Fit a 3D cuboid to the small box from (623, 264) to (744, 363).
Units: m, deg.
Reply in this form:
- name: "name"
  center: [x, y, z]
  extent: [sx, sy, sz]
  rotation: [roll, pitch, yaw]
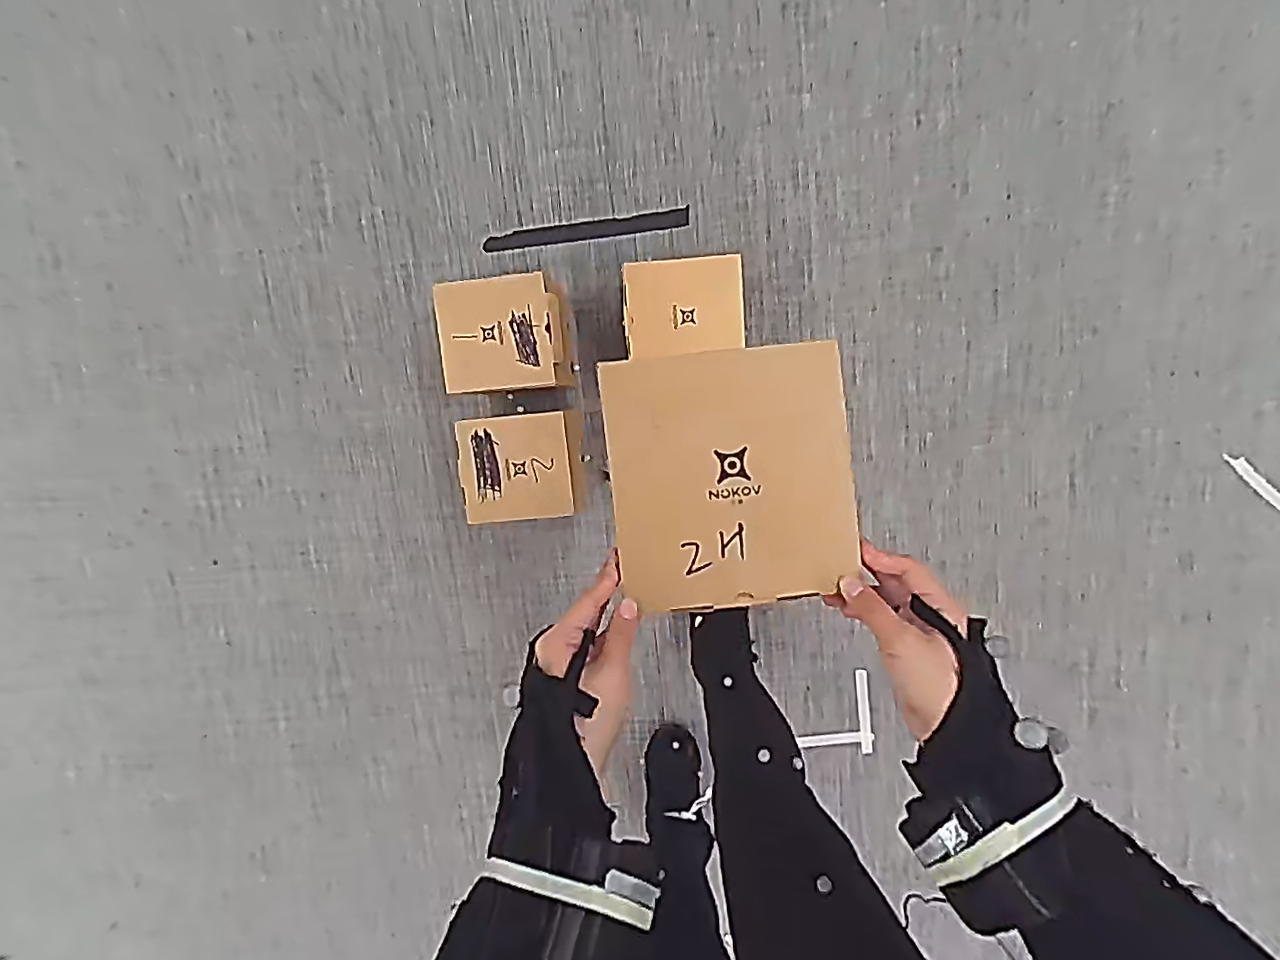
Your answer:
- name: "small box"
  center: [0.069, -0.245, 0.885]
  extent: [0.179, 0.176, 0.168]
  rotation: [-4, 98, 4]

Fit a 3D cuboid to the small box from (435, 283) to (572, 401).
- name: "small box"
  center: [-0.214, -0.222, 0.903]
  extent: [0.179, 0.176, 0.168]
  rotation: [-5, 98, 5]

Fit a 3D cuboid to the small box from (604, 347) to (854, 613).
- name: "small box"
  center: [0.059, 0.000, 0.456]
  extent: [0.168, 0.176, 0.179]
  rotation: [-6, 90, -1]
